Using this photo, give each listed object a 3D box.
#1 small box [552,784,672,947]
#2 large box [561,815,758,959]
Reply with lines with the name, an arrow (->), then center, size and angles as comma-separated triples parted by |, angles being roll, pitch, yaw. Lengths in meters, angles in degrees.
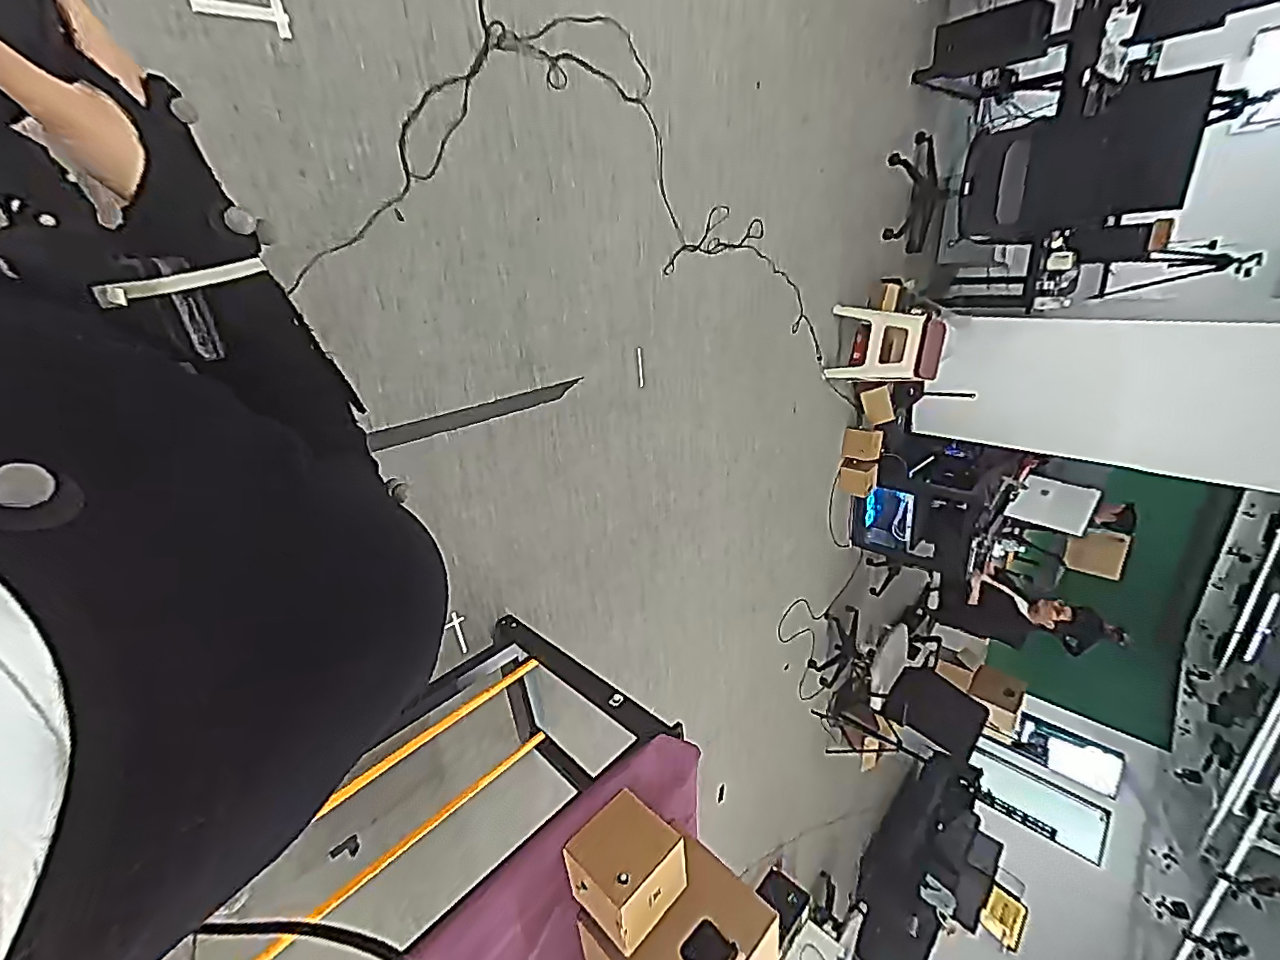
small box -> -0.055, 0.777, 1.111 | 0.179, 0.176, 0.168 | -27, 123, -38
large box -> 0.054, 1.092, 1.234 | 0.320, 0.320, 0.408 | -25, 118, -38
